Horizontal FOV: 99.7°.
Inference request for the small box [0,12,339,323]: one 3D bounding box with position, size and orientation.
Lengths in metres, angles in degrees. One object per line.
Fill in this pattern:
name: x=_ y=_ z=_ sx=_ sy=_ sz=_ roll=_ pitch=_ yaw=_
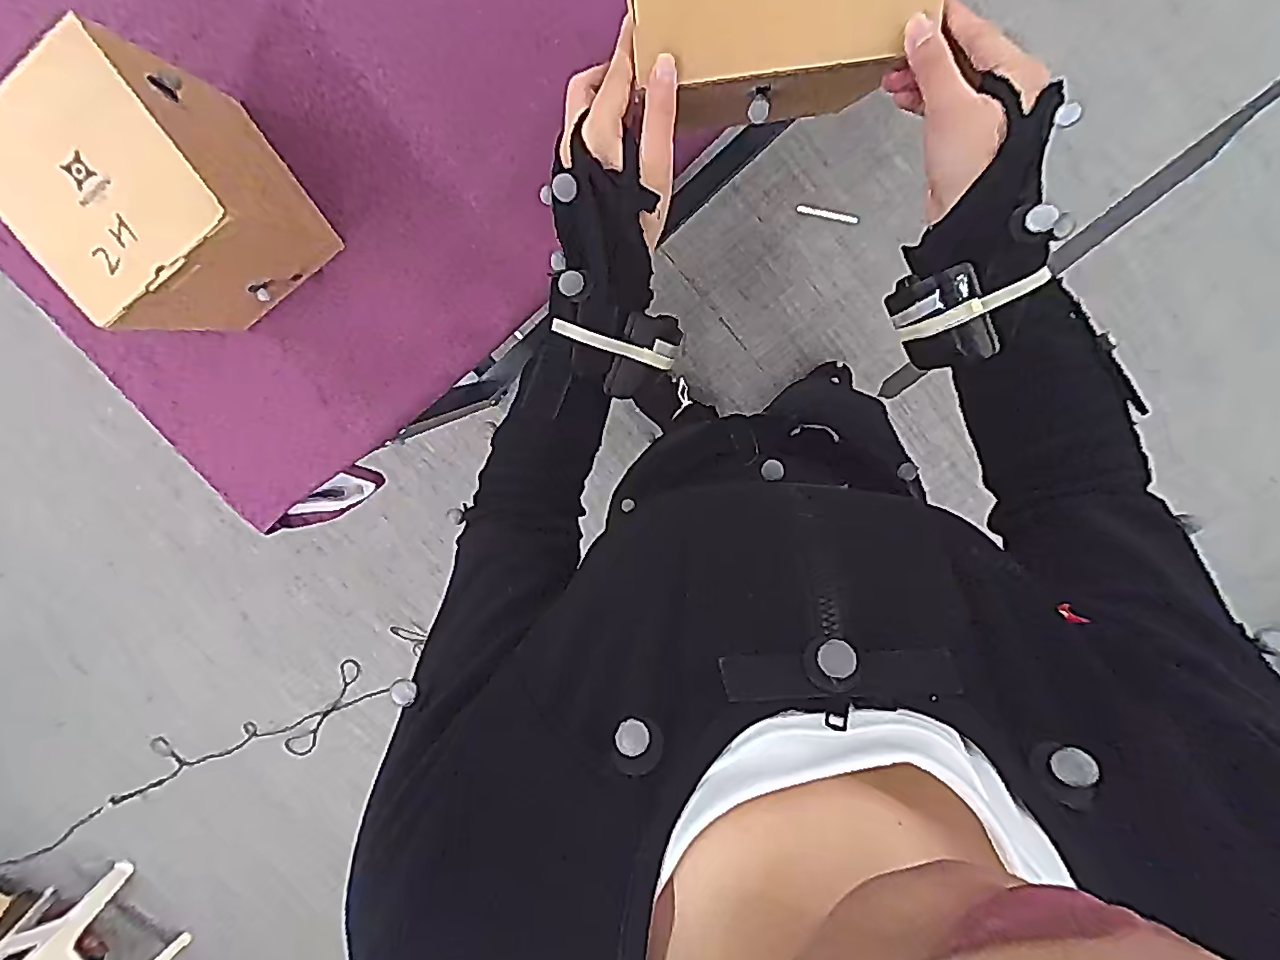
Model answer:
small box: x=-0.443 y=-0.266 z=0.517 sx=0.168 sy=0.176 sz=0.179 roll=-33 pitch=101 yaw=10
